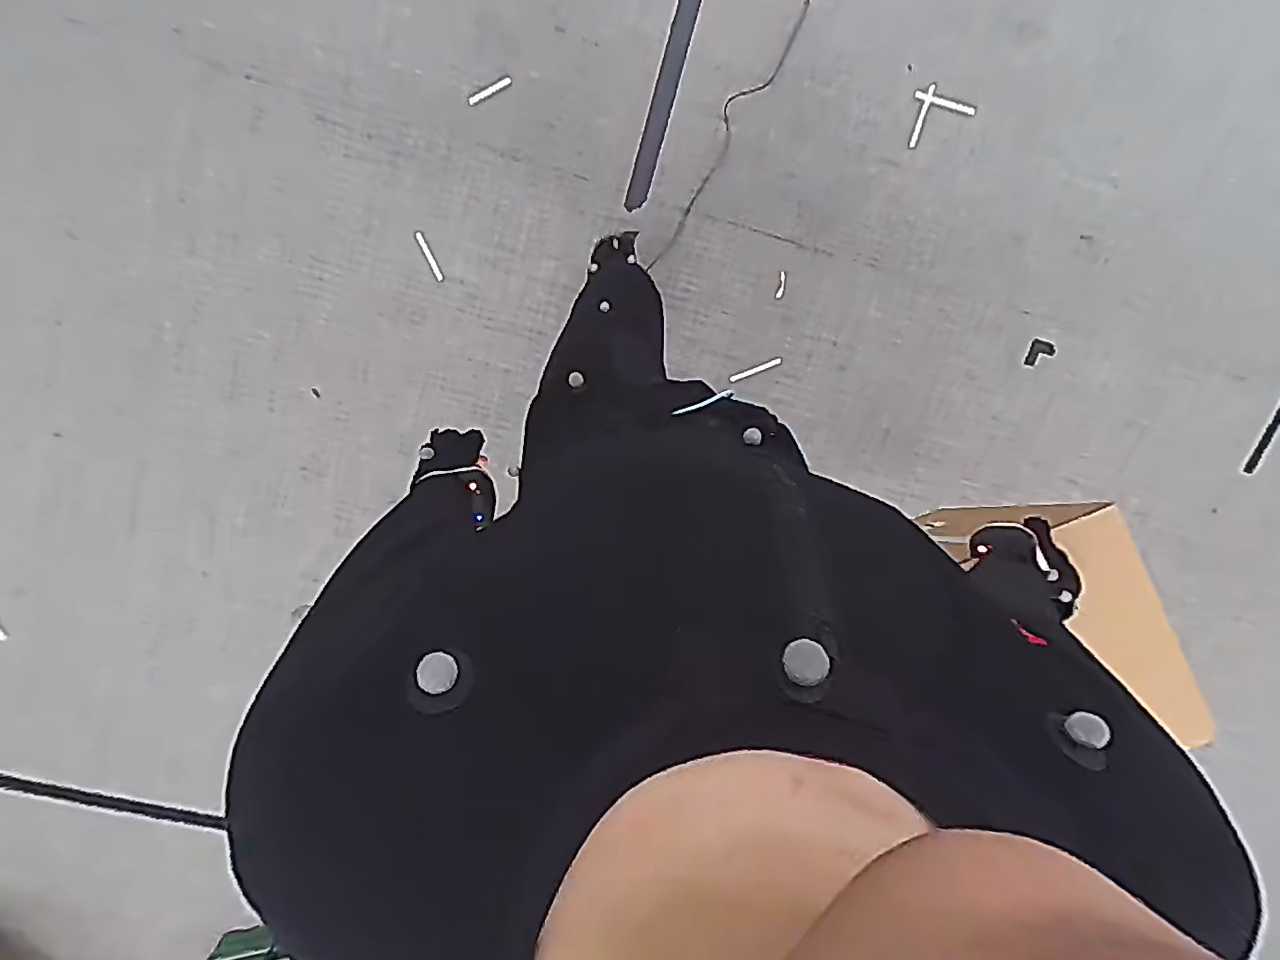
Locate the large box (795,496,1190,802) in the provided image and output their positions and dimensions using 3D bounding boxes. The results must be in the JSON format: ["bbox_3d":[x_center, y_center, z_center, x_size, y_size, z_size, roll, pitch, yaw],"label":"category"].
[{"bbox_3d":[0.508,0.235,0.884,0.320,0.408,0.320,-20,85,-2],"label":"large box"}]
